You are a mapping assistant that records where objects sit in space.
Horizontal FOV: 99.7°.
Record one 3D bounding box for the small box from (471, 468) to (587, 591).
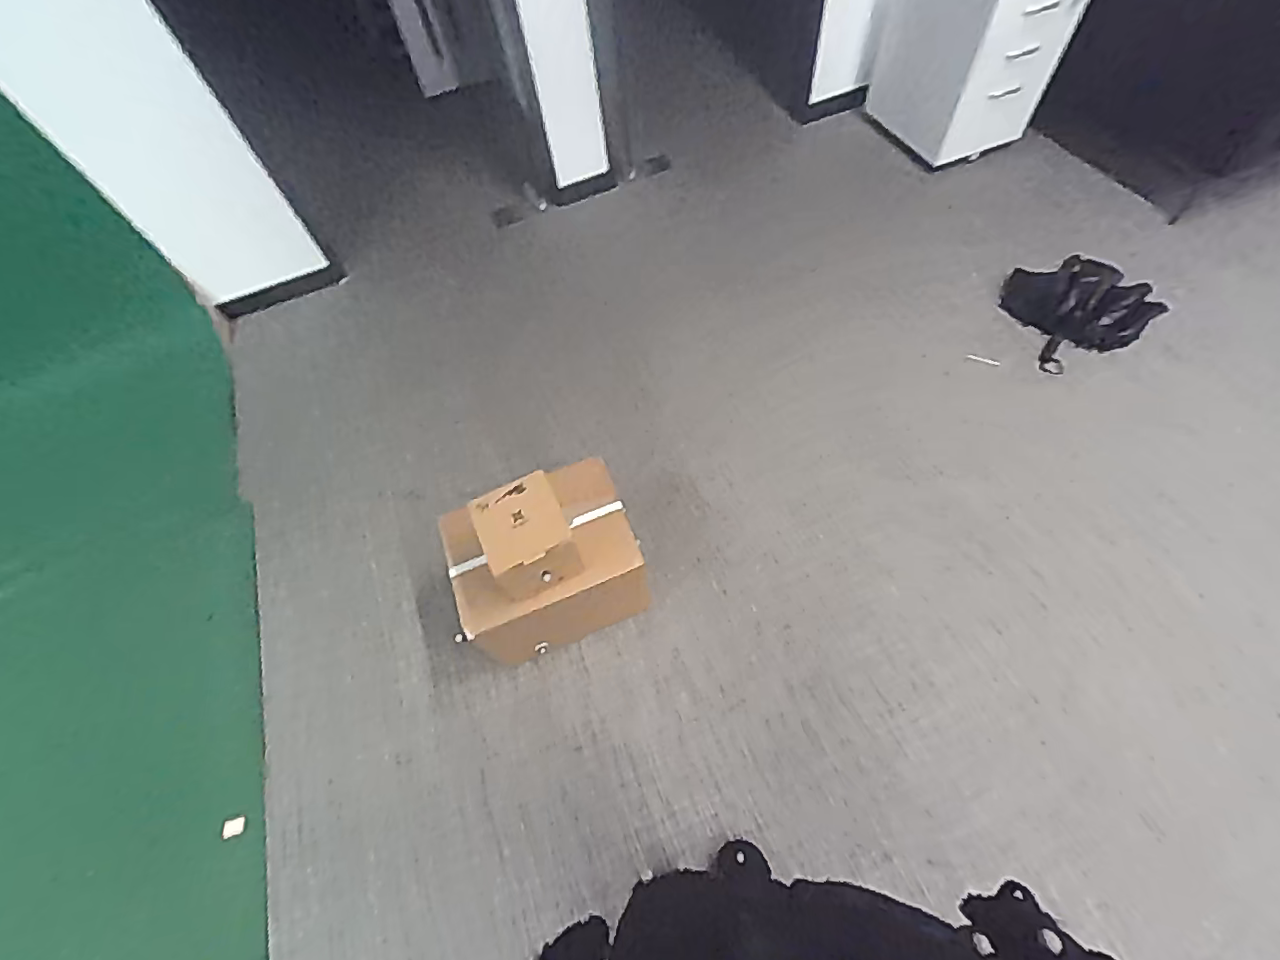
[{"bbox_3d":[-0.223,0.112,1.120,0.168,0.176,0.179,-24,62,-8],"label":"small box"}]
